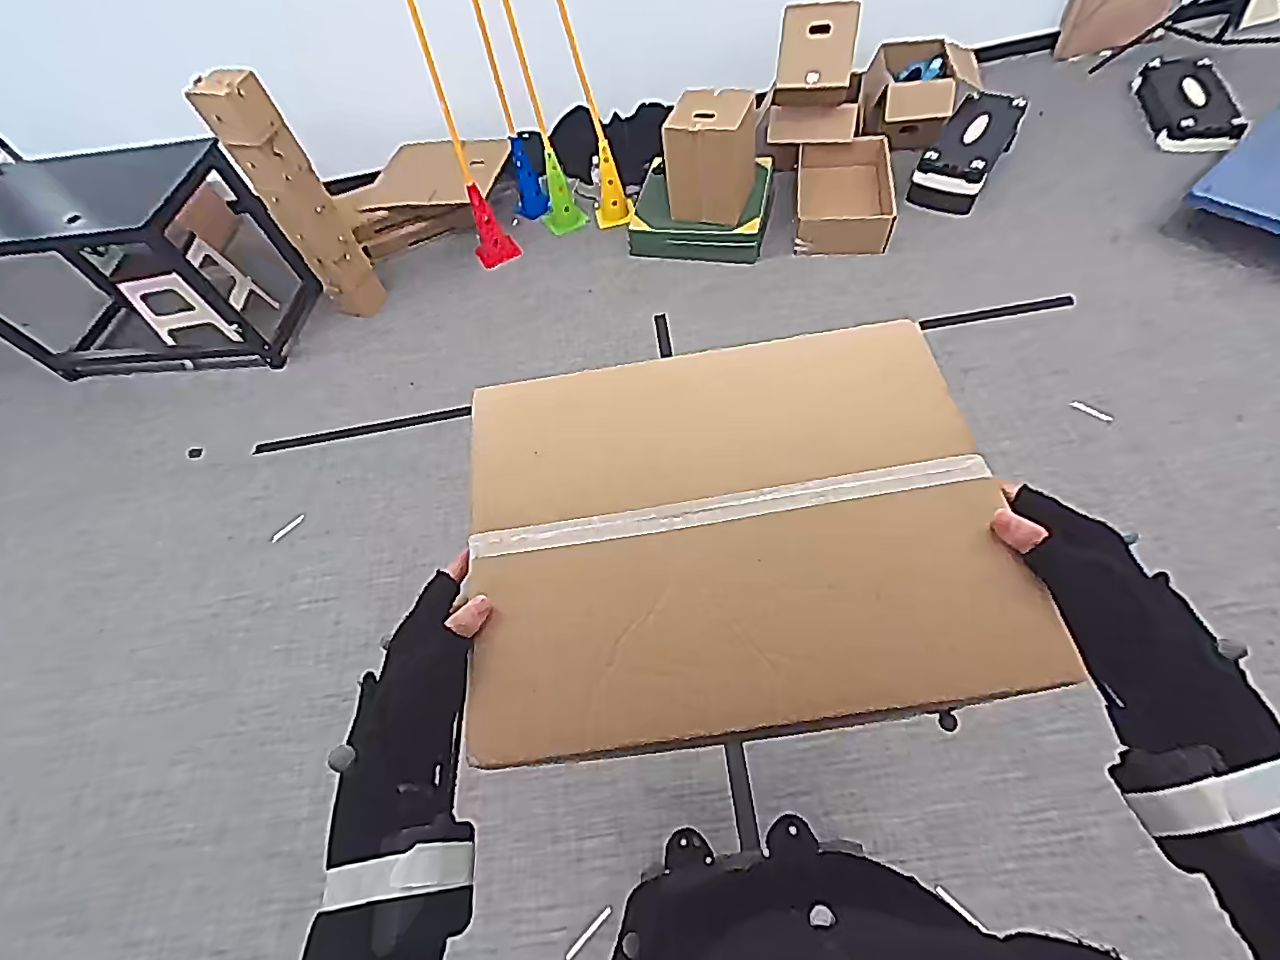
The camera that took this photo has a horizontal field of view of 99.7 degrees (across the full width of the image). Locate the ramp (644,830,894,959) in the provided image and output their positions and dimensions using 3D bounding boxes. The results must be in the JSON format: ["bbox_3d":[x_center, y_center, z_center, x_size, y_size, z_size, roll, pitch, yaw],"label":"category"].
[{"bbox_3d":[0.315,1.265,1.014,0.509,0.206,0.991,-10,58,1],"label":"ramp"}]

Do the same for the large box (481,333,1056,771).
[{"bbox_3d":[0.083,0.097,0.567,0.408,0.320,0.320,-9,62,2],"label":"large box"}]
